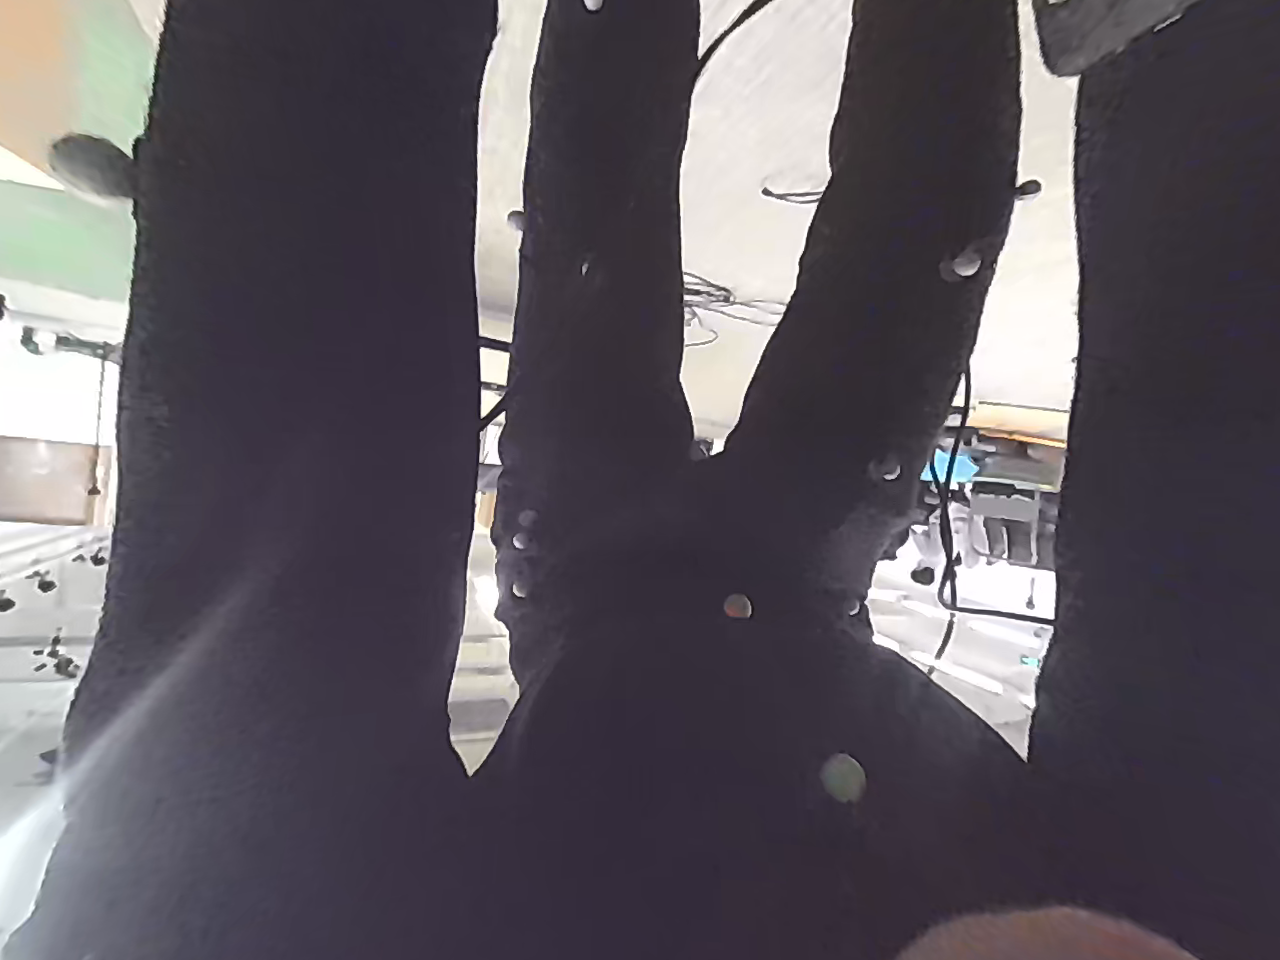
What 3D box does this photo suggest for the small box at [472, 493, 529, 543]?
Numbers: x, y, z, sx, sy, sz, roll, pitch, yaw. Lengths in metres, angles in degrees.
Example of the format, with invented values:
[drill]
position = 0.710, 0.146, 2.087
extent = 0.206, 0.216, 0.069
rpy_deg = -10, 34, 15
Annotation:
[small box]
position = -0.551, 0.149, 2.143
extent = 0.179, 0.176, 0.168
rpy_deg = 9, 178, -27
